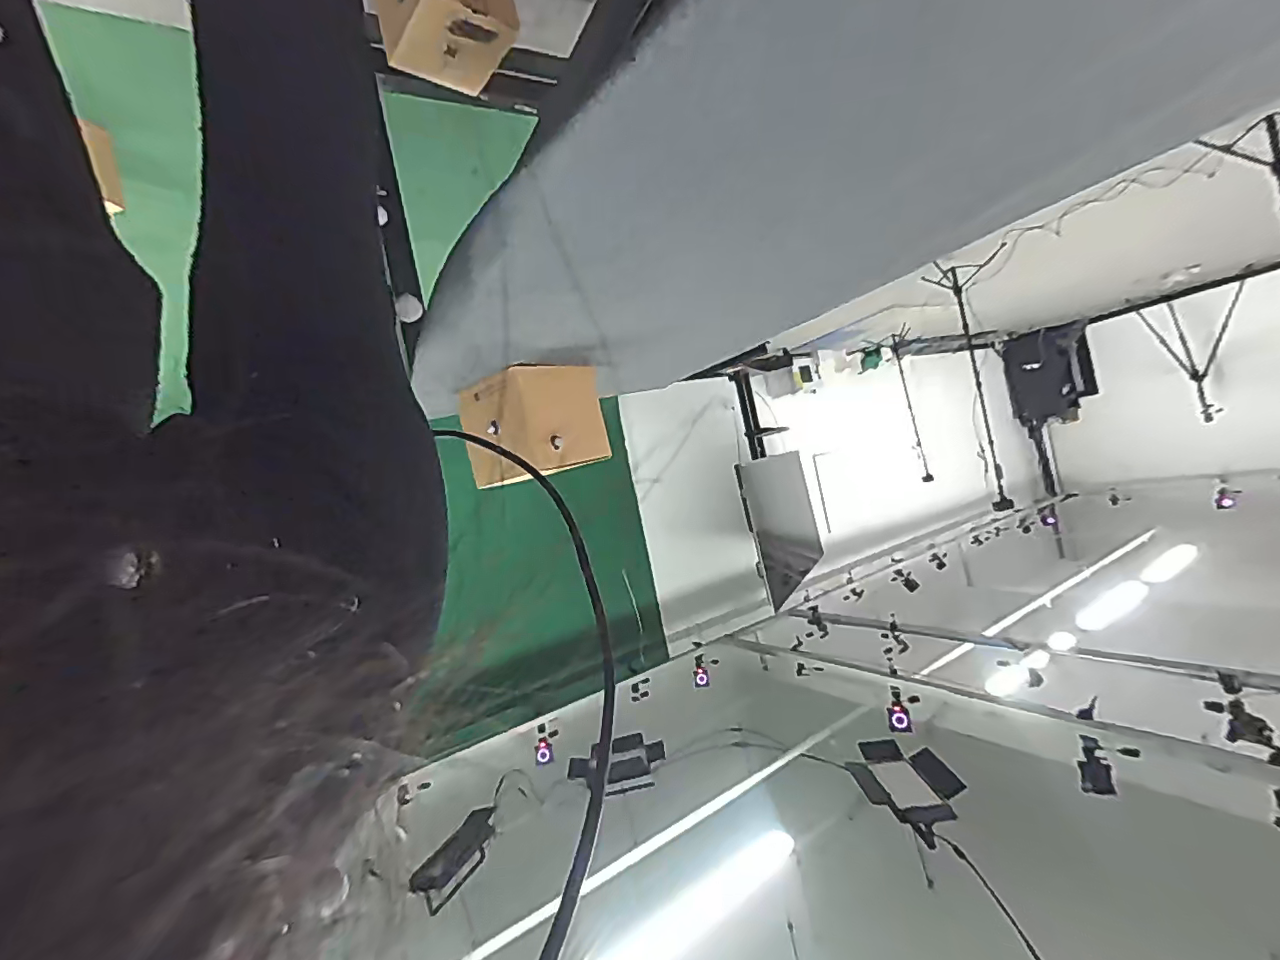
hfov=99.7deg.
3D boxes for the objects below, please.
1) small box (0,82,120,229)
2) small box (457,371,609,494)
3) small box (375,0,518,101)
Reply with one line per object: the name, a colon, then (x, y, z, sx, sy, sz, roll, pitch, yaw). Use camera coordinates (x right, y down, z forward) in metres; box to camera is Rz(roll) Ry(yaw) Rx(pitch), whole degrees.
small box: (-1.183, -0.620, 1.048, 0.168, 0.176, 0.179, -12, -179, 1)
small box: (-0.185, -0.084, 0.926, 0.168, 0.176, 0.179, -12, -178, 38)
small box: (-0.334, -0.800, 0.912, 0.168, 0.176, 0.179, -11, -179, -44)
